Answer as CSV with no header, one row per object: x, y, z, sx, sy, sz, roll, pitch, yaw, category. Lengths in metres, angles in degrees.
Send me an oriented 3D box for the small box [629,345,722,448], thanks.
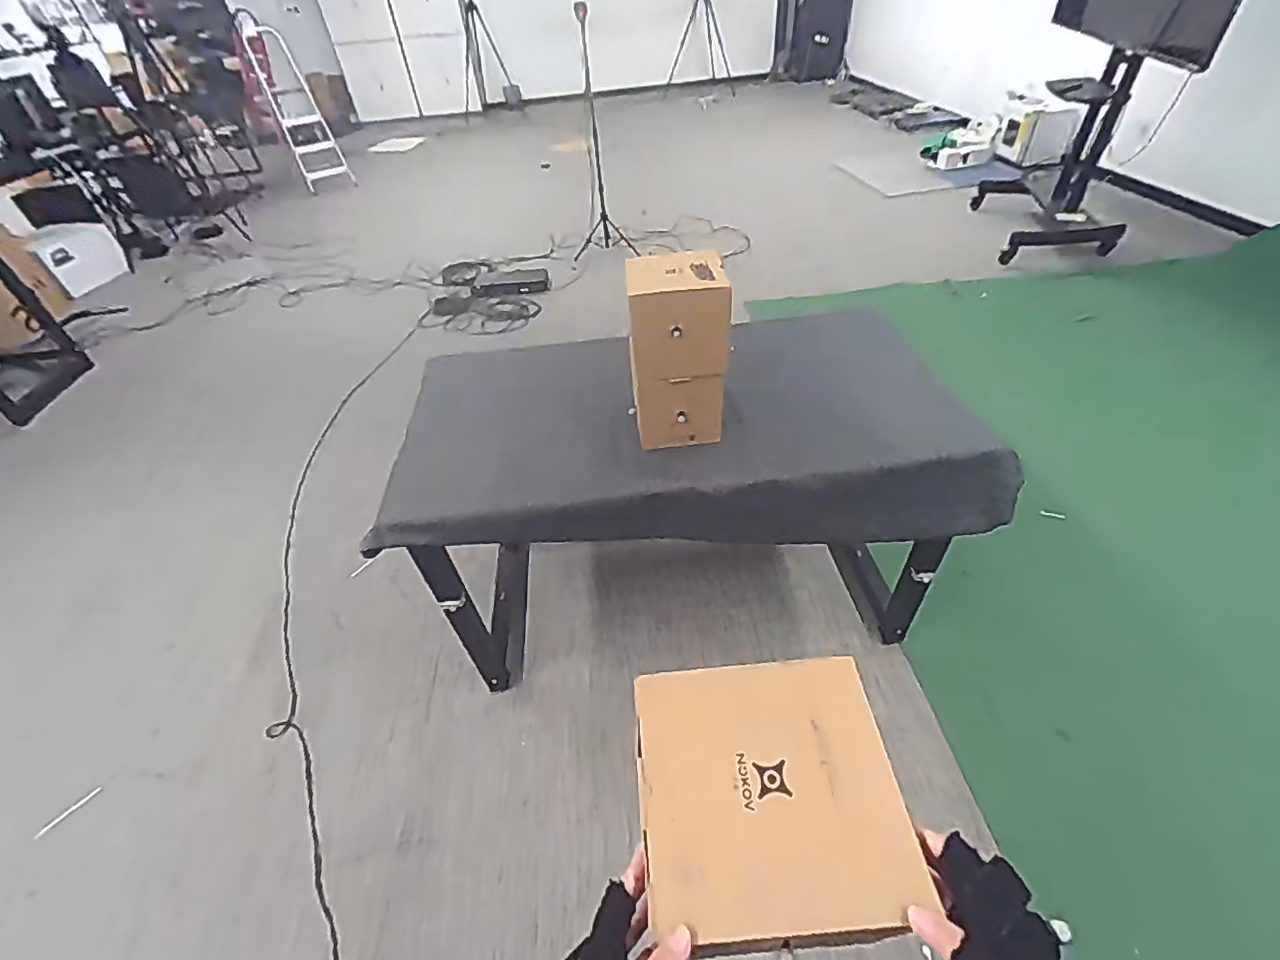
0.074,-0.180,1.113,0.168,0.176,0.179,-8,43,-1,small box

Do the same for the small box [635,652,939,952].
0.095,0.260,0.435,0.179,0.176,0.168,-6,47,-1,small box

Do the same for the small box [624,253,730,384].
0.066,-0.295,0.995,0.179,0.176,0.168,-6,43,3,small box
